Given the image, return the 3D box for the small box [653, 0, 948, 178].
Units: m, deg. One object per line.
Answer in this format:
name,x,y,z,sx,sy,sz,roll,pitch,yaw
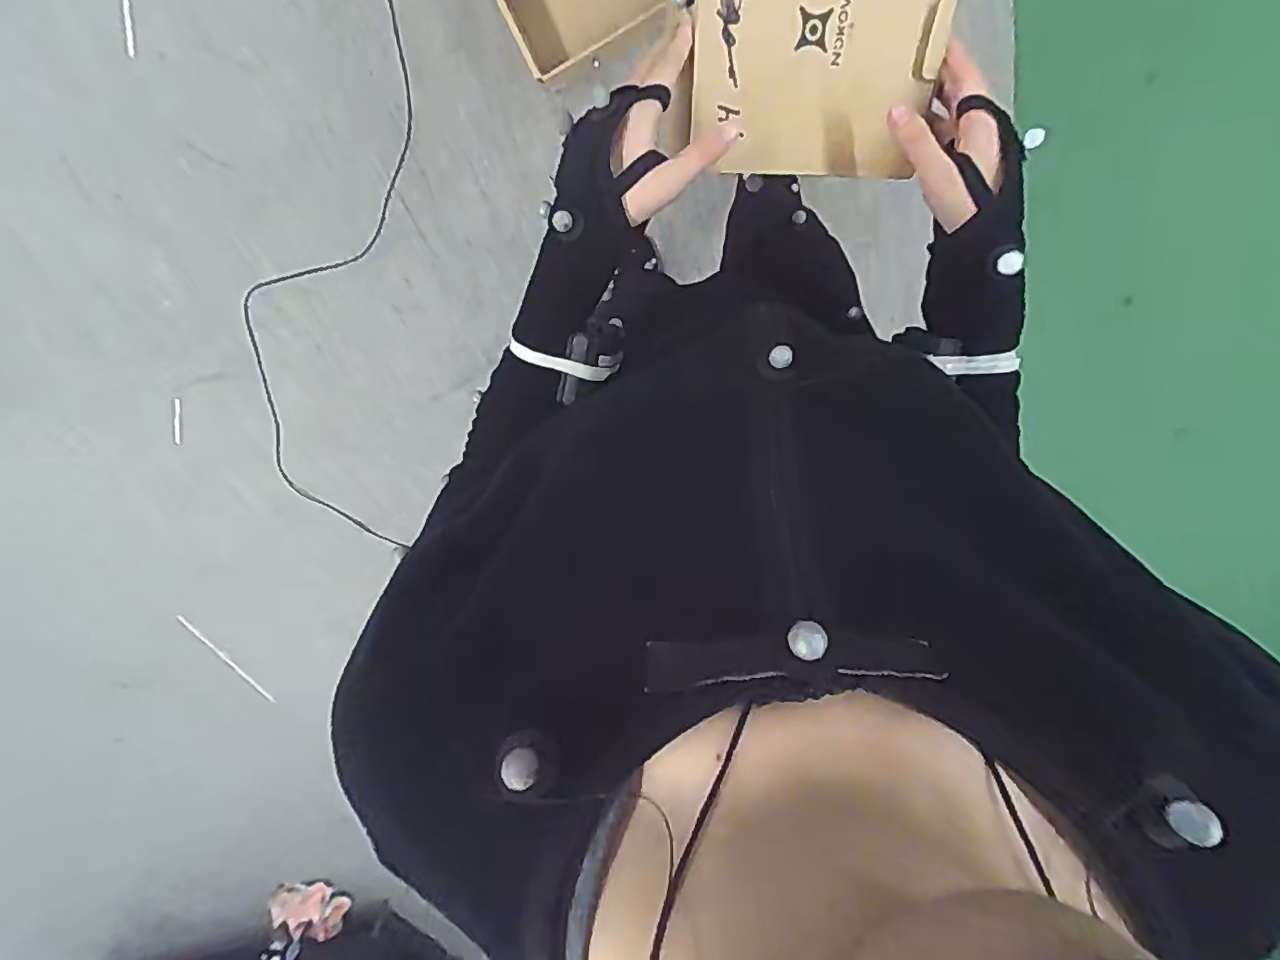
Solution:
small box,0.109,-0.341,0.426,0.179,0.176,0.168,-1,122,-5
